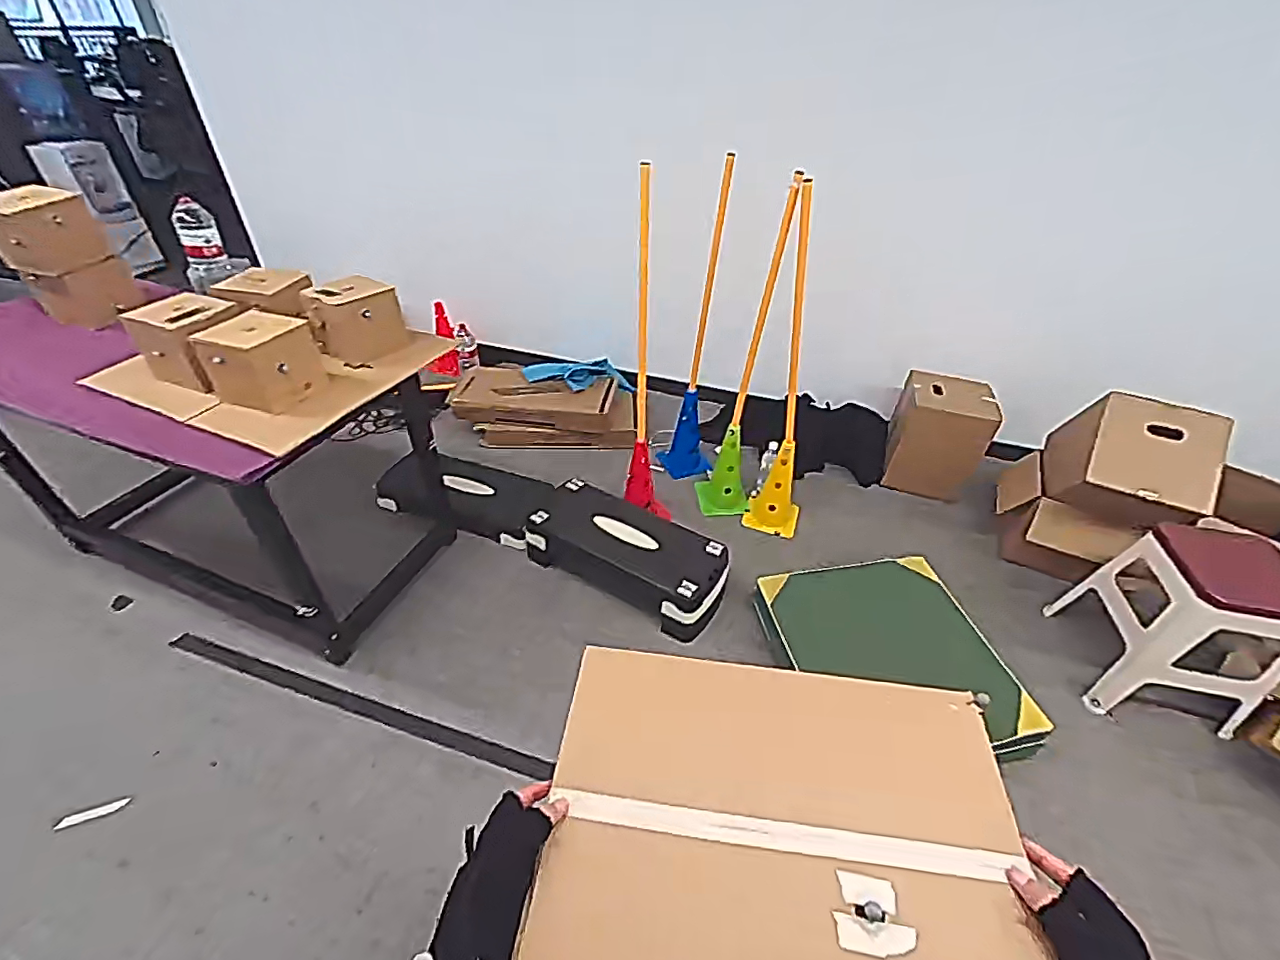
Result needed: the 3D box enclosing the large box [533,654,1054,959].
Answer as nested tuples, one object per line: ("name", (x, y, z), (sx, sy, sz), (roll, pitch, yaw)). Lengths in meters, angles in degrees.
("large box", (0.126, 0.422, 0.574), (0.408, 0.320, 0.320), (6, 42, 6))
